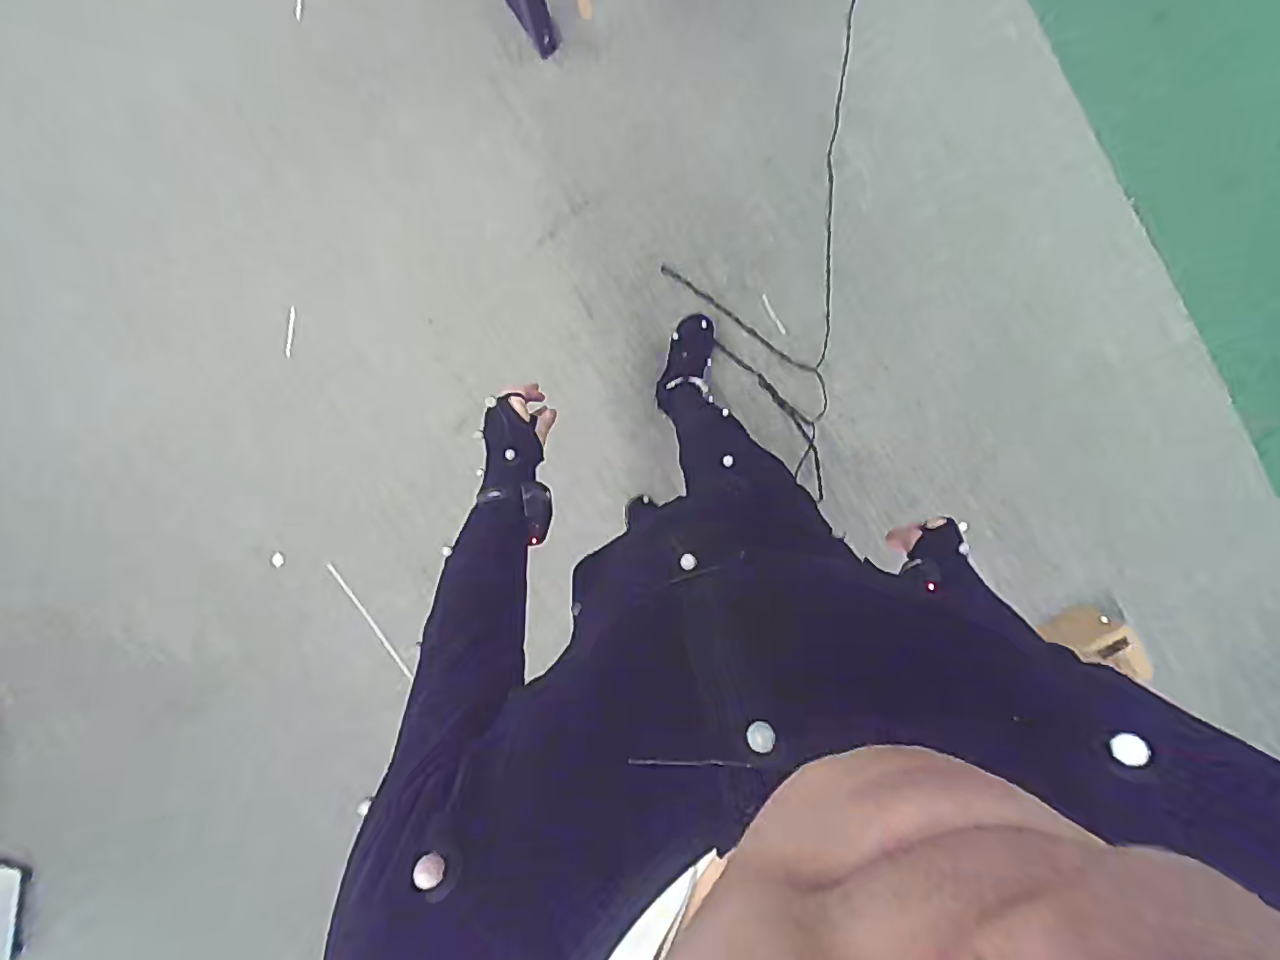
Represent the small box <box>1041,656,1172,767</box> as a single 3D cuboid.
[{"bbox_3d":[1.191,0.591,1.401,0.179,0.176,0.168,-30,95,3],"label":"small box"}]
